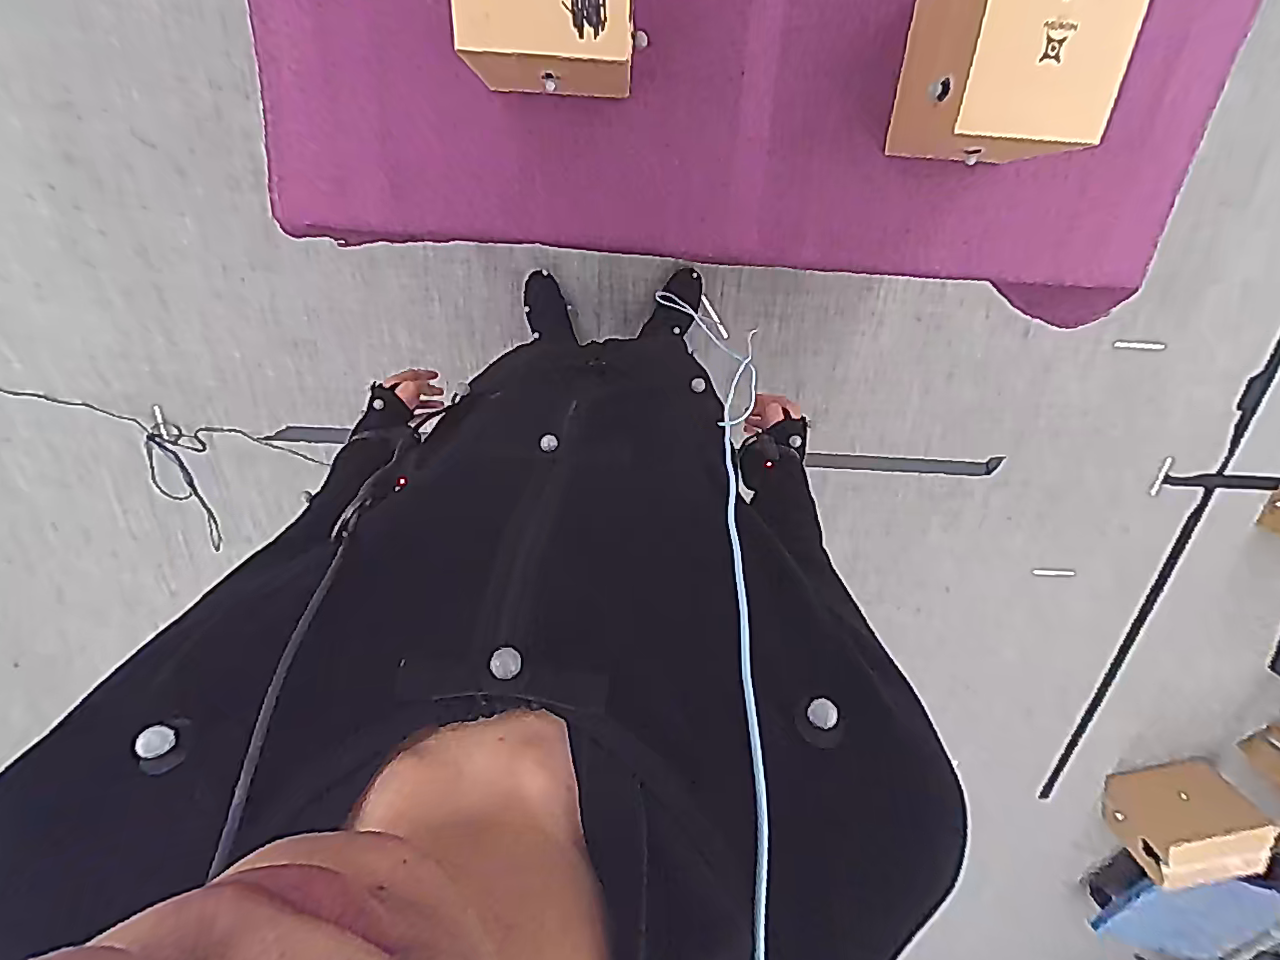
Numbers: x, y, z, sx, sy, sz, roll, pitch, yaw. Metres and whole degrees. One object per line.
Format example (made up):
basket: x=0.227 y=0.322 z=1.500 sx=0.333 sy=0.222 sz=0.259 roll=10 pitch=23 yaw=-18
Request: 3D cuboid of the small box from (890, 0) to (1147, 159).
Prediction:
small box: x=0.417 y=-0.482 z=0.623 sx=0.168 sy=0.176 sz=0.179 roll=2 pitch=115 yaw=-4

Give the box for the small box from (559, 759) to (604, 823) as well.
small box: x=-0.238 y=1.275 z=2.223 sx=0.179 sy=0.176 sz=0.168 roll=1 pitch=115 yaw=-2
